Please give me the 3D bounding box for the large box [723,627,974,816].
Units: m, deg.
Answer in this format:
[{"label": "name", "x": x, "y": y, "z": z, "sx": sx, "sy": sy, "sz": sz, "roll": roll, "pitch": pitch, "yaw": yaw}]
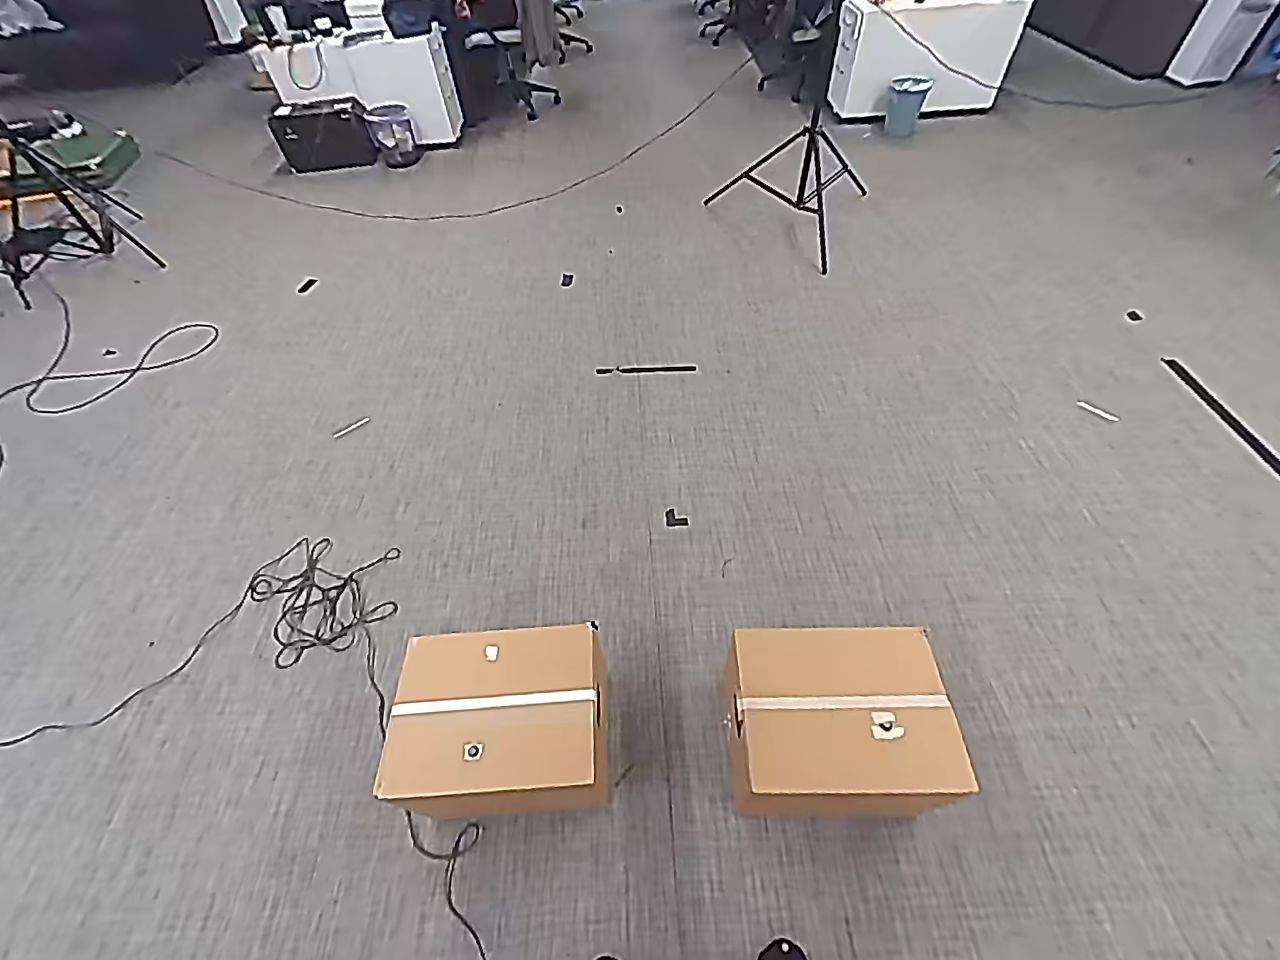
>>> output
[{"label": "large box", "x": 0.409, "y": 0.533, "z": 1.186, "sx": 0.408, "sy": 0.320, "sz": 0.320, "roll": -1, "pitch": 51, "yaw": 2}]
